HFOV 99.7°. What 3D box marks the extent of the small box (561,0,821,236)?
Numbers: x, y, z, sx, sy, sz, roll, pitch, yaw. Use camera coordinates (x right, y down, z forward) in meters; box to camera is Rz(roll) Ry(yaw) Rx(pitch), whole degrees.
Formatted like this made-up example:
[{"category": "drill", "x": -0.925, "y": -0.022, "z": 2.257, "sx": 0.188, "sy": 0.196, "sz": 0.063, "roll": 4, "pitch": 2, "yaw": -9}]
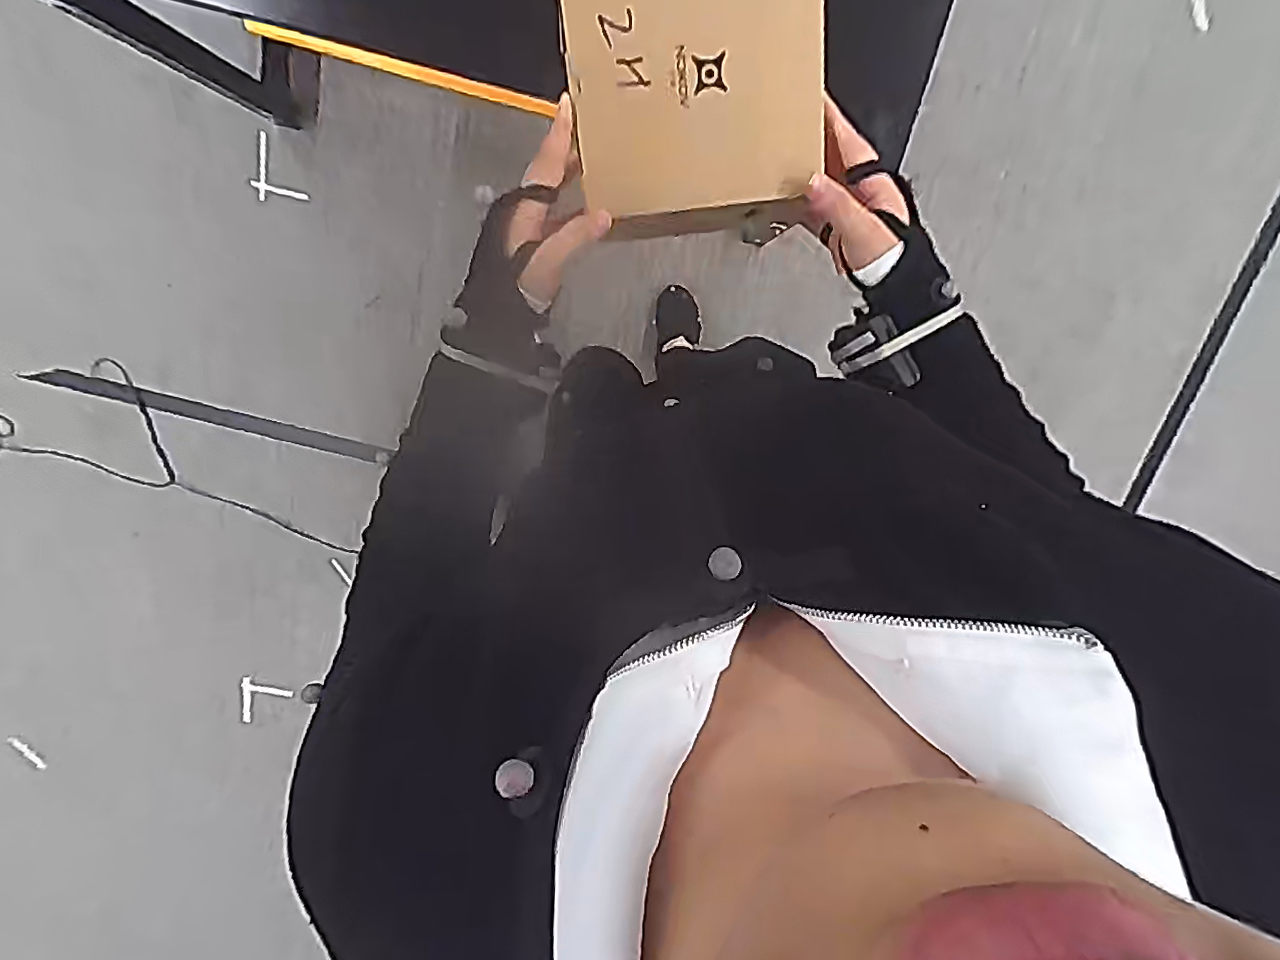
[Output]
[{"category": "small box", "x": 0.034, "y": -0.306, "z": 0.447, "sx": 0.179, "sy": 0.176, "sz": 0.168, "roll": -6, "pitch": 108, "yaw": 0}]
